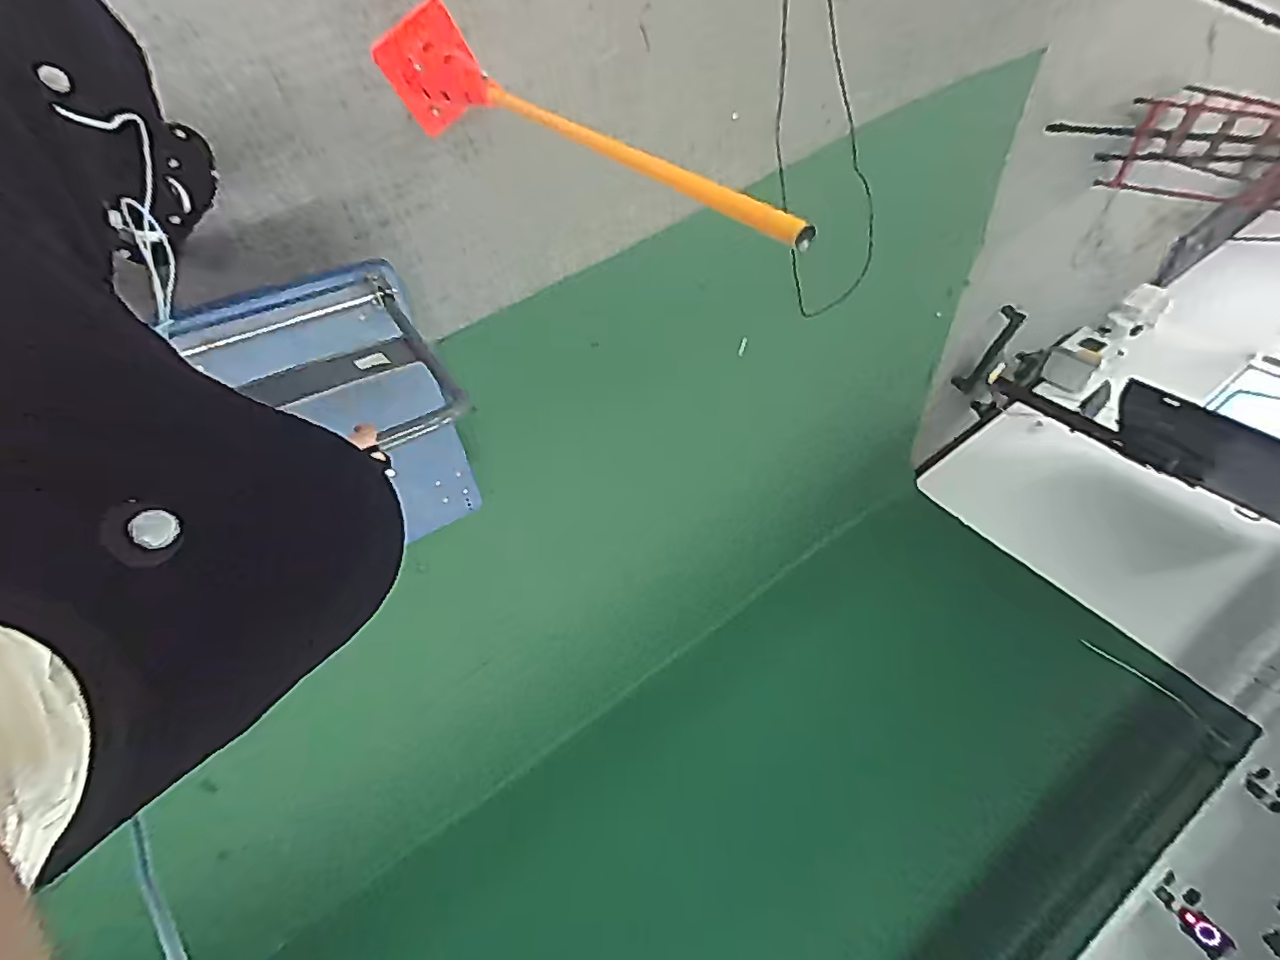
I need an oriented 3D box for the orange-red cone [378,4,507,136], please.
[{"bbox_3d":[-0.372,-0.839,1.144,0.199,0.360,0.198,-43,144,-4],"label":"orange-red cone"}]
